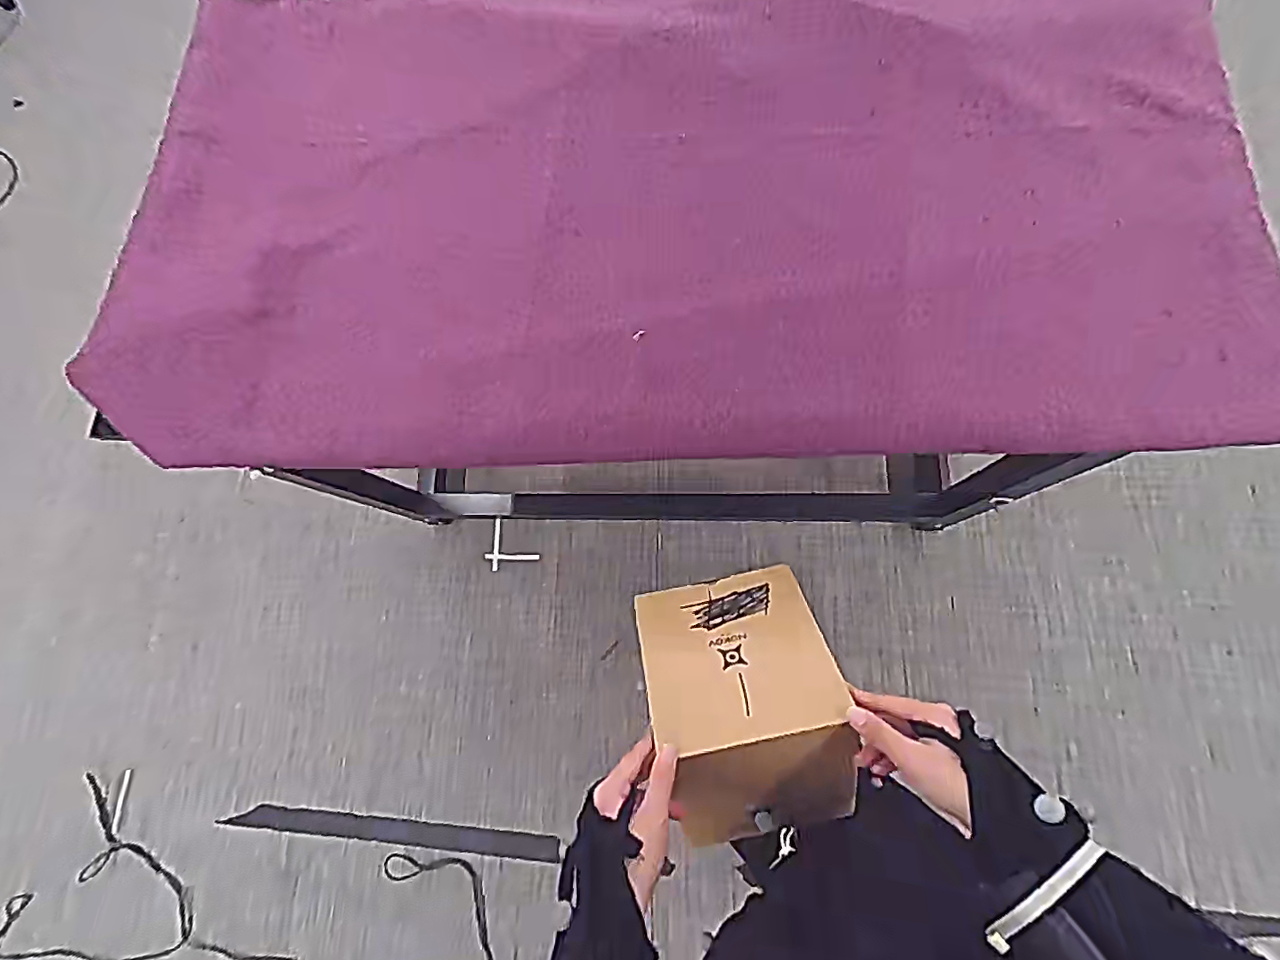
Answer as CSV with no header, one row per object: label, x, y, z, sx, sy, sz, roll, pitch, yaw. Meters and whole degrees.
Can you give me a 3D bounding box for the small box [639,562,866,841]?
small box,0.100,0.213,0.530,0.168,0.176,0.179,-13,36,1
